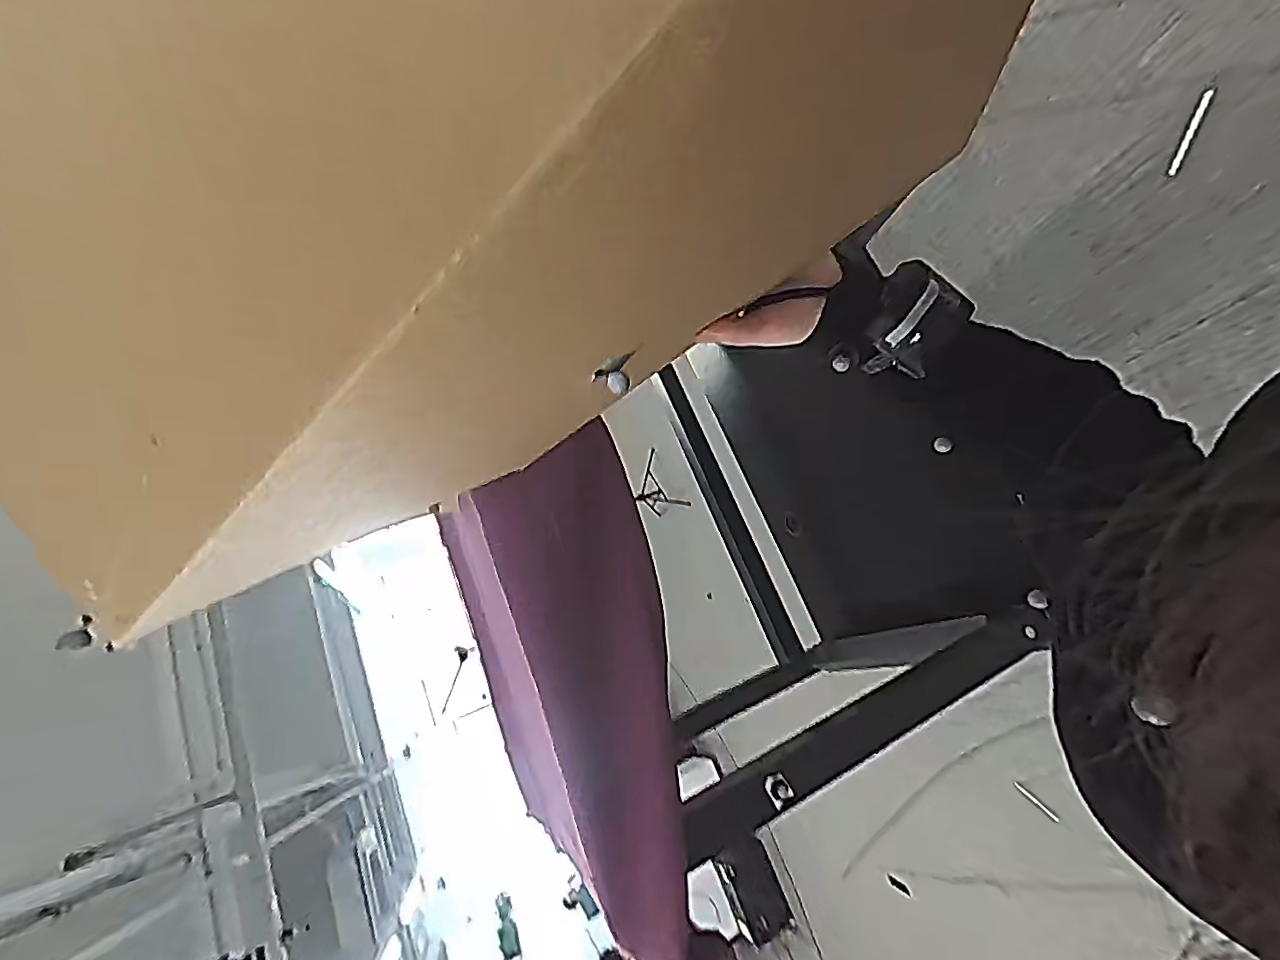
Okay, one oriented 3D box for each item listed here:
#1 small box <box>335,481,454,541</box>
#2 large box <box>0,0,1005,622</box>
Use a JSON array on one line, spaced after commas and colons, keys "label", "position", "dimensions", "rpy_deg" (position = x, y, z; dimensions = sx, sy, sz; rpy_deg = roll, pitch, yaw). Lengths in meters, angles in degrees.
[{"label": "small box", "position": [-0.371, -0.036, 0.766], "dimensions": [0.179, 0.176, 0.168], "rpy_deg": [67, 157, 14]}, {"label": "large box", "position": [-0.103, -0.195, 0.268], "dimensions": [0.408, 0.320, 0.320], "rpy_deg": [-30, 91, 30]}]
